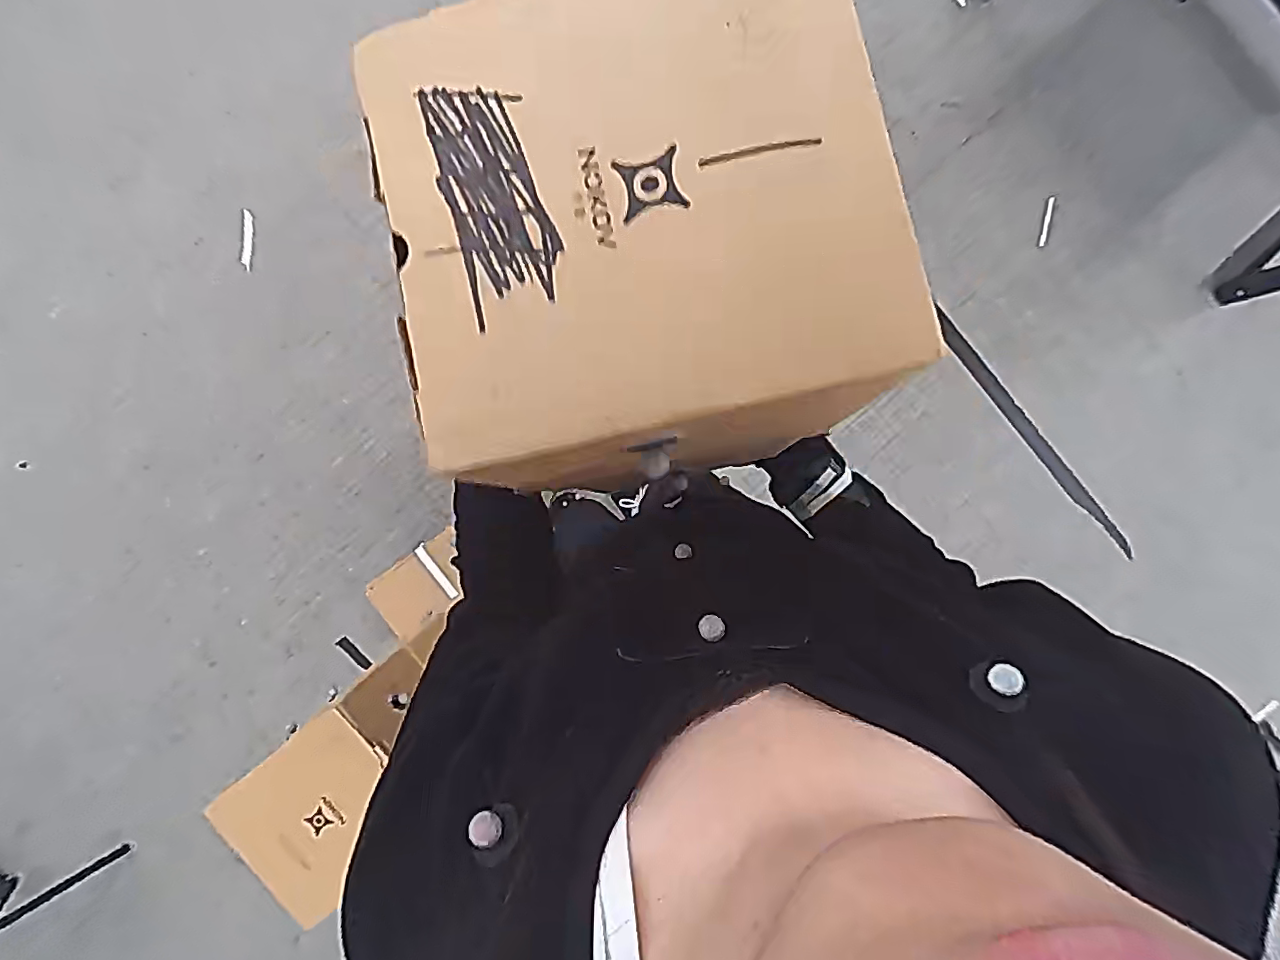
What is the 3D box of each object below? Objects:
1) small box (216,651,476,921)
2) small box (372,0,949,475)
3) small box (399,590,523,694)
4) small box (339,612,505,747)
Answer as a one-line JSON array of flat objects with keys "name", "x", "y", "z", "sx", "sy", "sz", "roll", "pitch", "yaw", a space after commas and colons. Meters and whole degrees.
[{"name": "small box", "x": -0.313, "y": 0.332, "z": 0.626, "sx": 0.179, "sy": 0.176, "sz": 0.168, "roll": -39, "pitch": 92, "yaw": 1}, {"name": "small box", "x": 0.008, "y": -0.101, "z": 0.265, "sx": 0.179, "sy": 0.176, "sz": 0.168, "roll": -12, "pitch": 86, "yaw": 4}, {"name": "small box", "x": -0.324, "y": 0.318, "z": 0.951, "sx": 0.179, "sy": 0.176, "sz": 0.168, "roll": -37, "pitch": 93, "yaw": -1}, {"name": "small box", "x": -0.316, "y": 0.321, "z": 0.788, "sx": 0.179, "sy": 0.176, "sz": 0.168, "roll": -39, "pitch": 94, "yaw": 0}]
